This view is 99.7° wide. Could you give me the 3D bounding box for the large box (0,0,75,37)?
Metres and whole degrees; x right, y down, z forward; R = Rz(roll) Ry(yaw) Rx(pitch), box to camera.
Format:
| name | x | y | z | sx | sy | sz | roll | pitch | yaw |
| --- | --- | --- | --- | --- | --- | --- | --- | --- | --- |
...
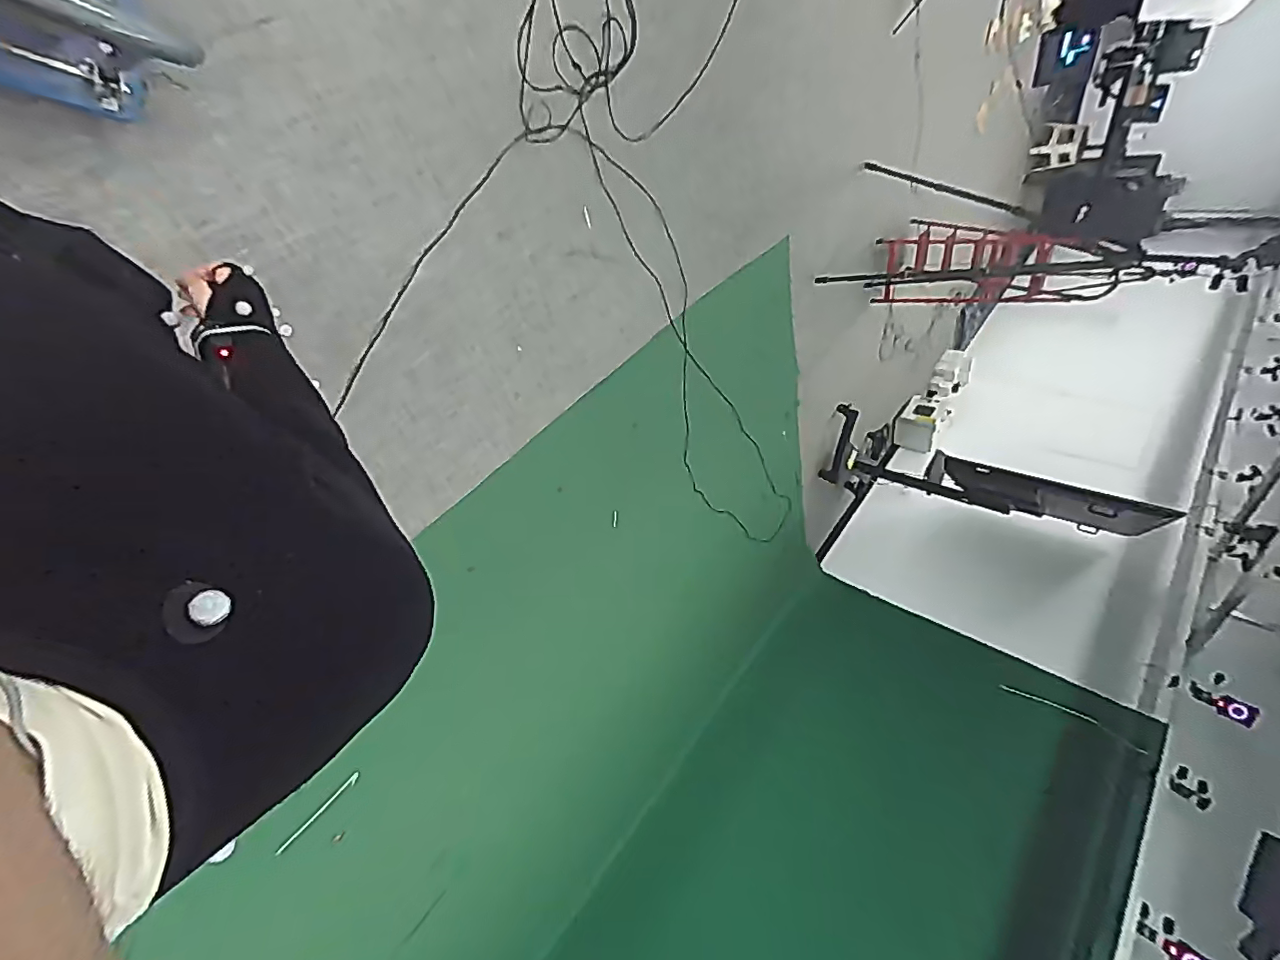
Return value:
| name | x | y | z | sx | sy | sz | roll | pitch | yaw |
| --- | --- | --- | --- | --- | --- | --- | --- | --- | --- |
| large box | -0.938 | -0.875 | 0.662 | 0.320 | 0.320 | 0.408 | -7 | 112 | -50 |
